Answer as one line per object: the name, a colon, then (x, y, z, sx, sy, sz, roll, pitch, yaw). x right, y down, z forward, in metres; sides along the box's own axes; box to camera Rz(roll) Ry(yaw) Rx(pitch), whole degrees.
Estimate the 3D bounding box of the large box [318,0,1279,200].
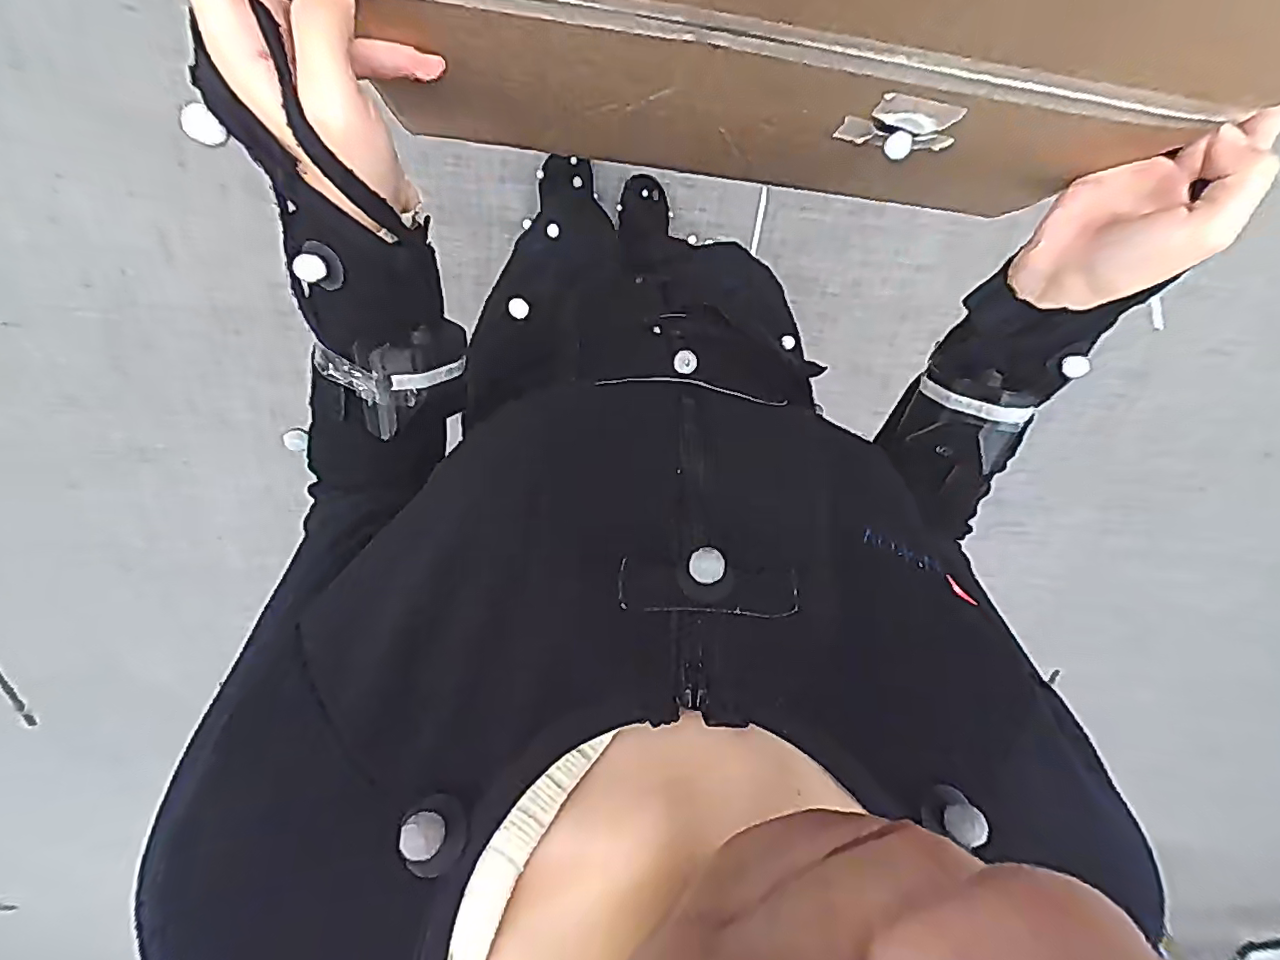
large box: (0.076, -0.331, 0.192, 0.408, 0.320, 0.320, 3, 102, -6)
